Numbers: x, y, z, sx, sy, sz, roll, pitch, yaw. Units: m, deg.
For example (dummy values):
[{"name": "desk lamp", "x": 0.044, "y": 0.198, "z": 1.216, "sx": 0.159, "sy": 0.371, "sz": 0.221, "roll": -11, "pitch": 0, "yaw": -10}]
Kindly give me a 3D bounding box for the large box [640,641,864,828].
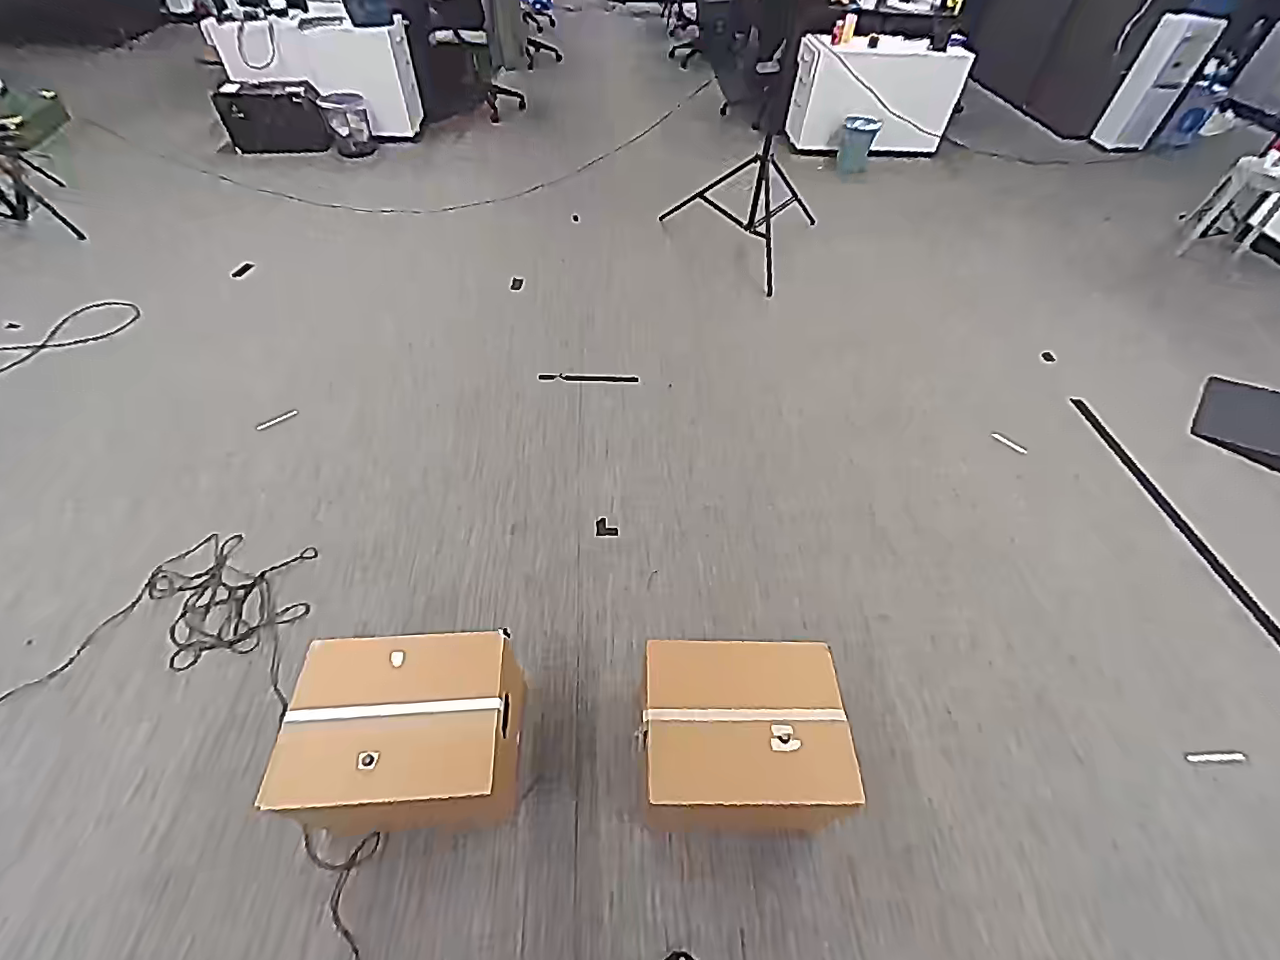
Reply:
[{"name": "large box", "x": 0.211, "y": 0.570, "z": 1.207, "sx": 0.408, "sy": 0.320, "sz": 0.320, "roll": 2, "pitch": 50, "yaw": -3}]
